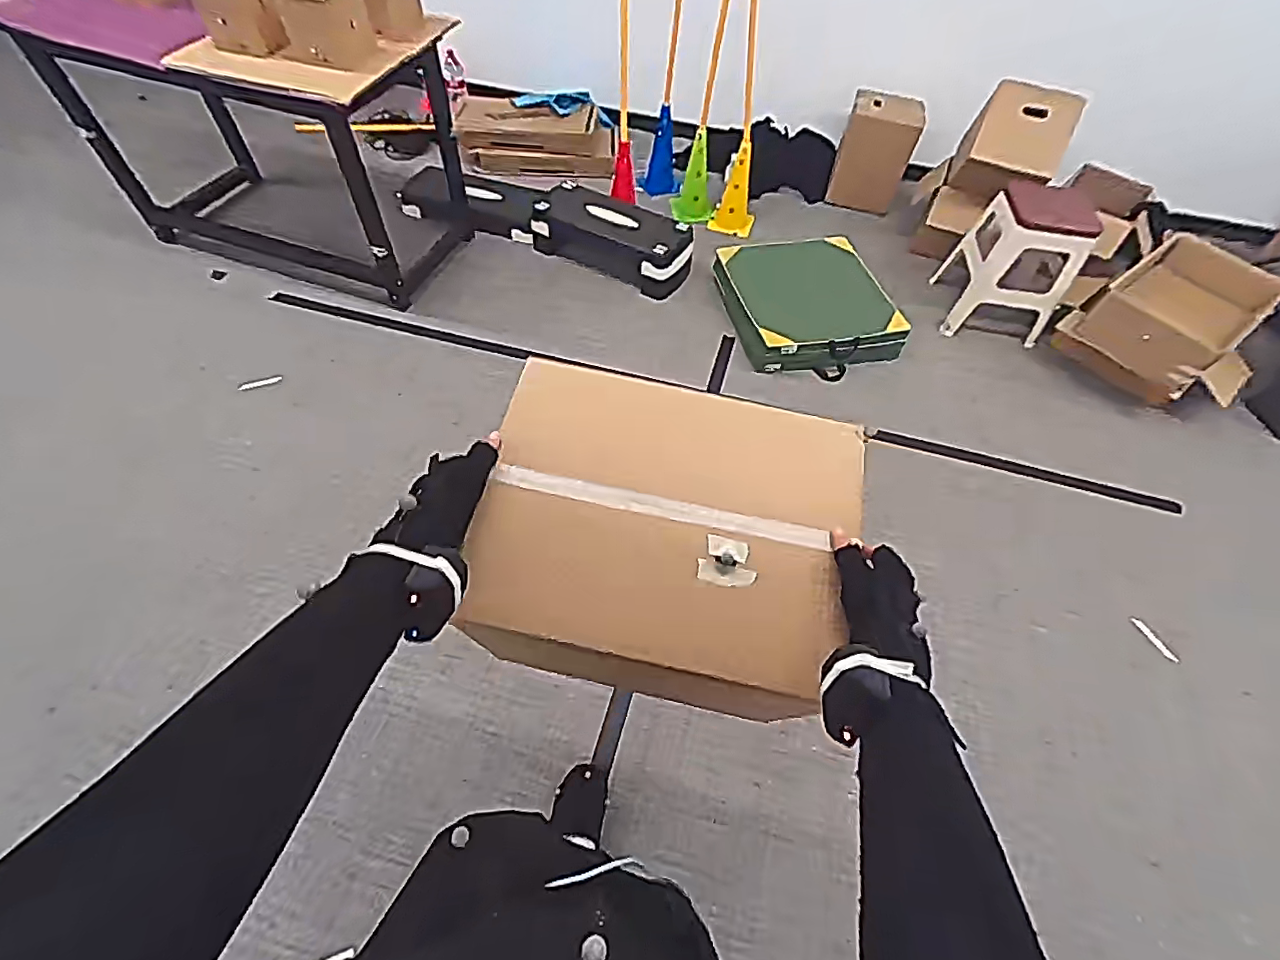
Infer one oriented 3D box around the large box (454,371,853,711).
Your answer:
[{"bbox_3d":[0.024,0.101,0.728,0.408,0.320,0.320,12,65,2],"label":"large box"}]
